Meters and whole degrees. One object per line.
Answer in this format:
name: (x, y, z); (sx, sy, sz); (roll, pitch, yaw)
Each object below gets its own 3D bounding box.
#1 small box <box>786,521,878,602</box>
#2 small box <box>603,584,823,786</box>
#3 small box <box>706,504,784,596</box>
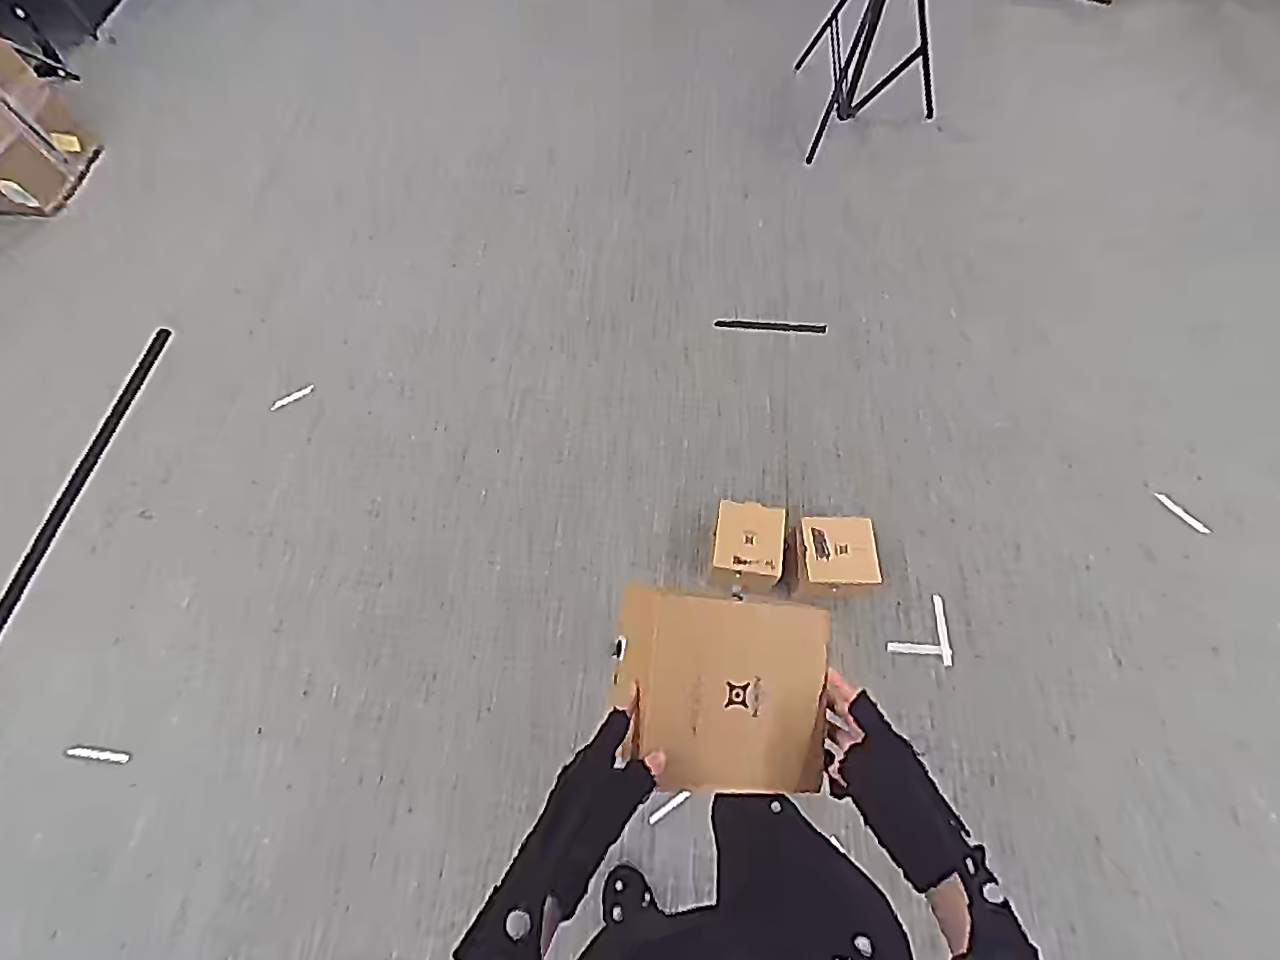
small box: (0.477, 0.212, 1.375); (0.179, 0.176, 0.168); (1, 66, 0)
small box: (0.067, 0.202, 0.569); (0.179, 0.176, 0.168); (8, 79, -12)
small box: (0.265, 0.184, 1.391); (0.168, 0.176, 0.179); (9, 66, 5)
